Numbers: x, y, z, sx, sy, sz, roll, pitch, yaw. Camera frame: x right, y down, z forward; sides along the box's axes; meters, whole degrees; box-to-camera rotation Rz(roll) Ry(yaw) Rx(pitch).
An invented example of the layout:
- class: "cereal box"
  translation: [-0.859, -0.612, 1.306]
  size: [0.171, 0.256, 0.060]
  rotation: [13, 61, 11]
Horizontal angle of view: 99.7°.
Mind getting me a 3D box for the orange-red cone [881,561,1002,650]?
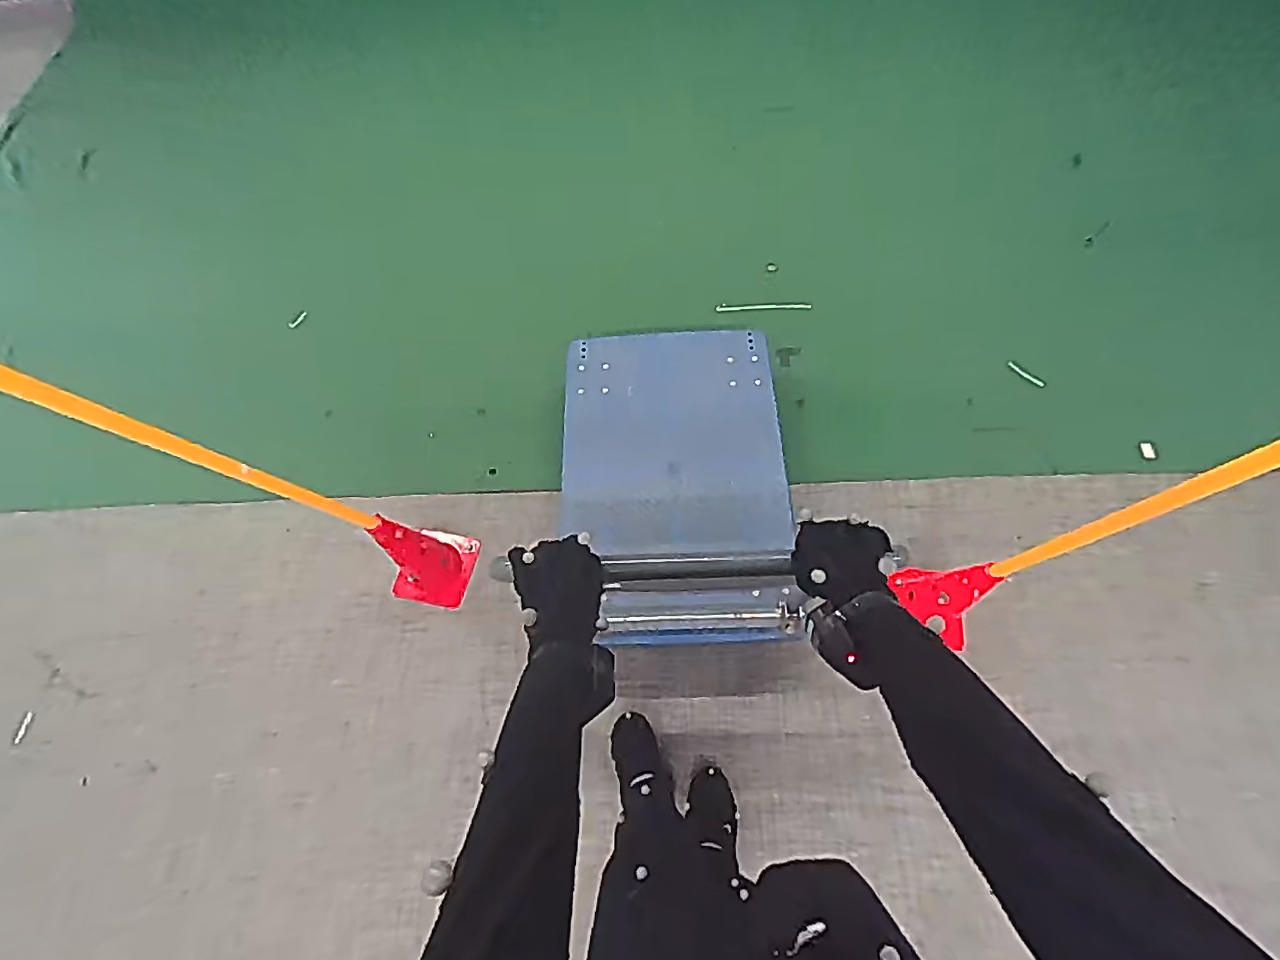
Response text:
- class: "orange-red cone"
  translation: [0.707, 0.251, 1.221]
  size: [0.198, 0.360, 0.199]
  rotation: [8, 67, 8]
